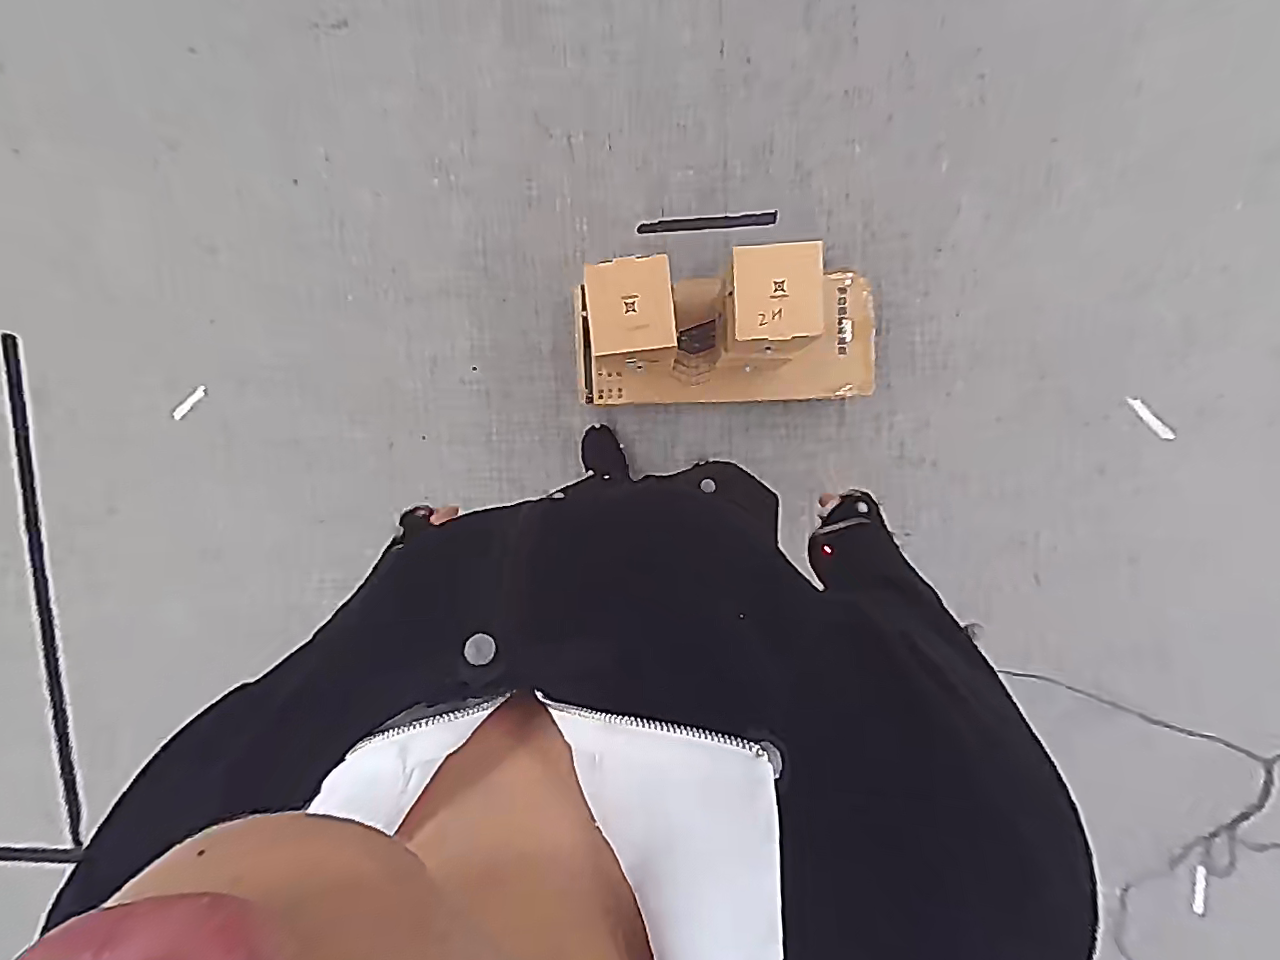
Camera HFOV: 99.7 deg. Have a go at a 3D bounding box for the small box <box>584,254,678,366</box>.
[{"bbox_3d":[-0.015,-0.340,1.107,0.168,0.176,0.179,-7,95,4],"label":"small box"}]

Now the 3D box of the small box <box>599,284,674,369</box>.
[{"bbox_3d":[-0.004,-0.354,1.270,0.168,0.176,0.179,0,96,3],"label":"small box"}]

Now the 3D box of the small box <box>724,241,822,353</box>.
[{"bbox_3d":[0.261,-0.360,1.090,0.168,0.176,0.179,-2,95,4],"label":"small box"}]

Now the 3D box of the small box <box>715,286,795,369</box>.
[{"bbox_3d":[0.264,-0.360,1.257,0.168,0.176,0.179,2,96,4],"label":"small box"}]
